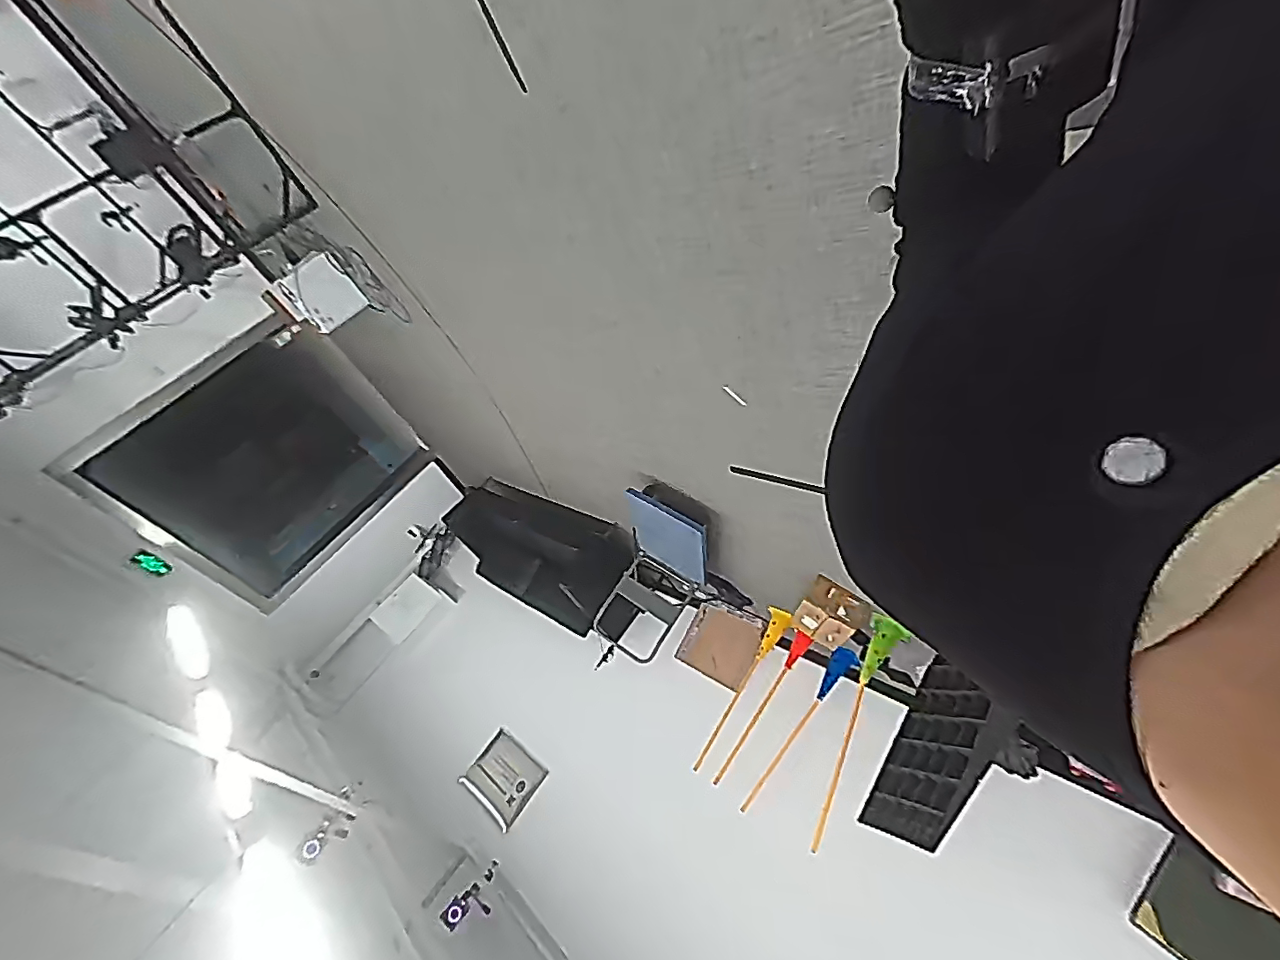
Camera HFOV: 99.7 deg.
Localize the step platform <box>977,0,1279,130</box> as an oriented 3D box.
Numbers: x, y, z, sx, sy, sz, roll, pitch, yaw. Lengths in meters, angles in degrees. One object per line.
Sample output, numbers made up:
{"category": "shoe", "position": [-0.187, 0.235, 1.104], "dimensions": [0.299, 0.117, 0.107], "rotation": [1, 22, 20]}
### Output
{"category": "step platform", "position": [0.885, -0.721, 0.775], "dimensions": [0.684, 0.204, 0.286], "rotation": [22, 151, 39]}
